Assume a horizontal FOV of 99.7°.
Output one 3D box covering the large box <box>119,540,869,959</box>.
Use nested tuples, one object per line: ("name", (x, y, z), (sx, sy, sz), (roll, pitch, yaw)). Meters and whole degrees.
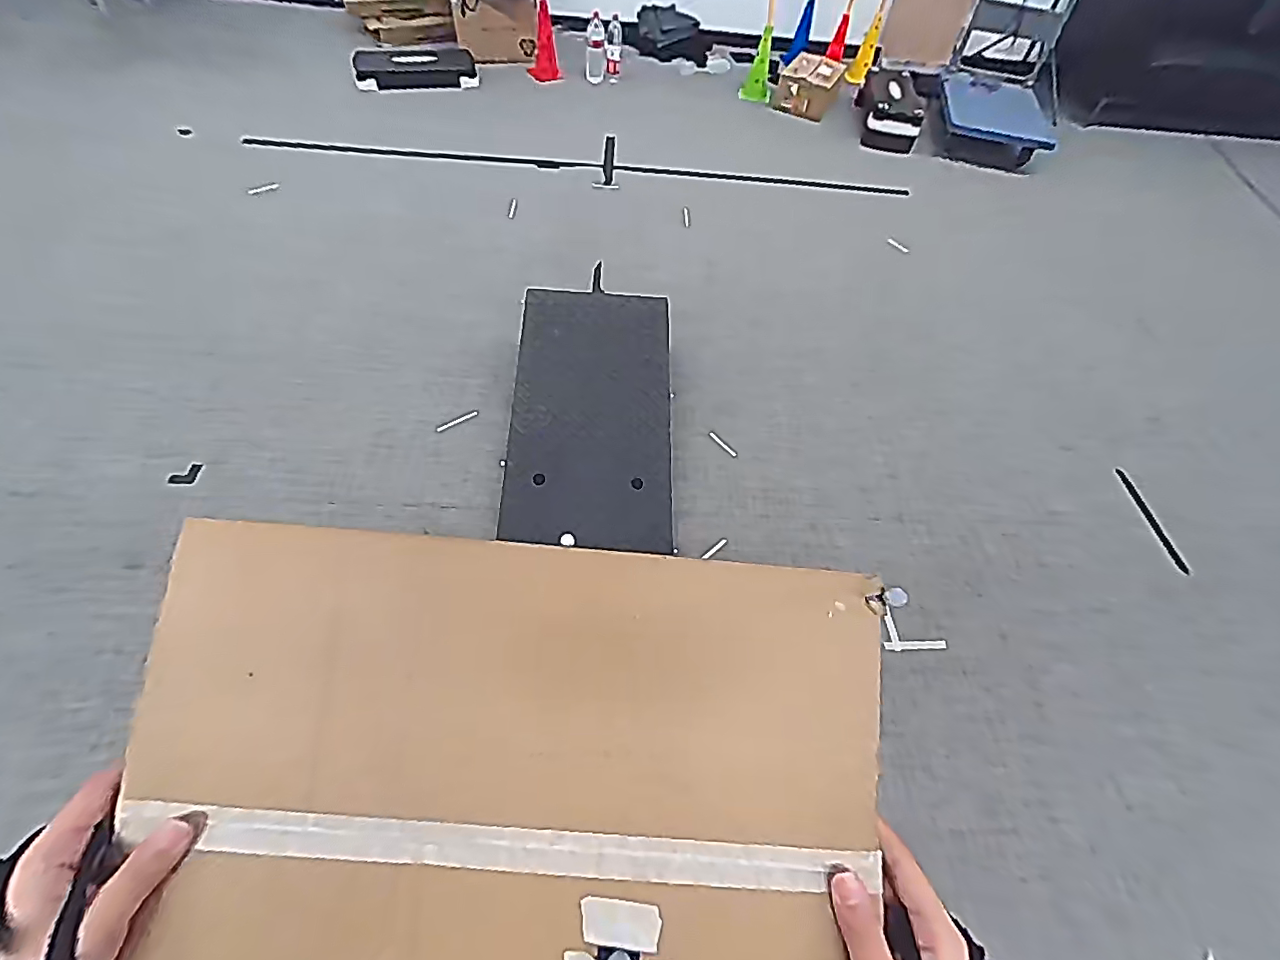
("large box", (-0.077, 0.225, 0.447), (0.408, 0.320, 0.320), (5, 81, -2))

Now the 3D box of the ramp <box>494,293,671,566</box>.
("ramp", (-0.152, -0.171, 1.671), (0.509, 0.206, 0.991), (2, 56, -6))
